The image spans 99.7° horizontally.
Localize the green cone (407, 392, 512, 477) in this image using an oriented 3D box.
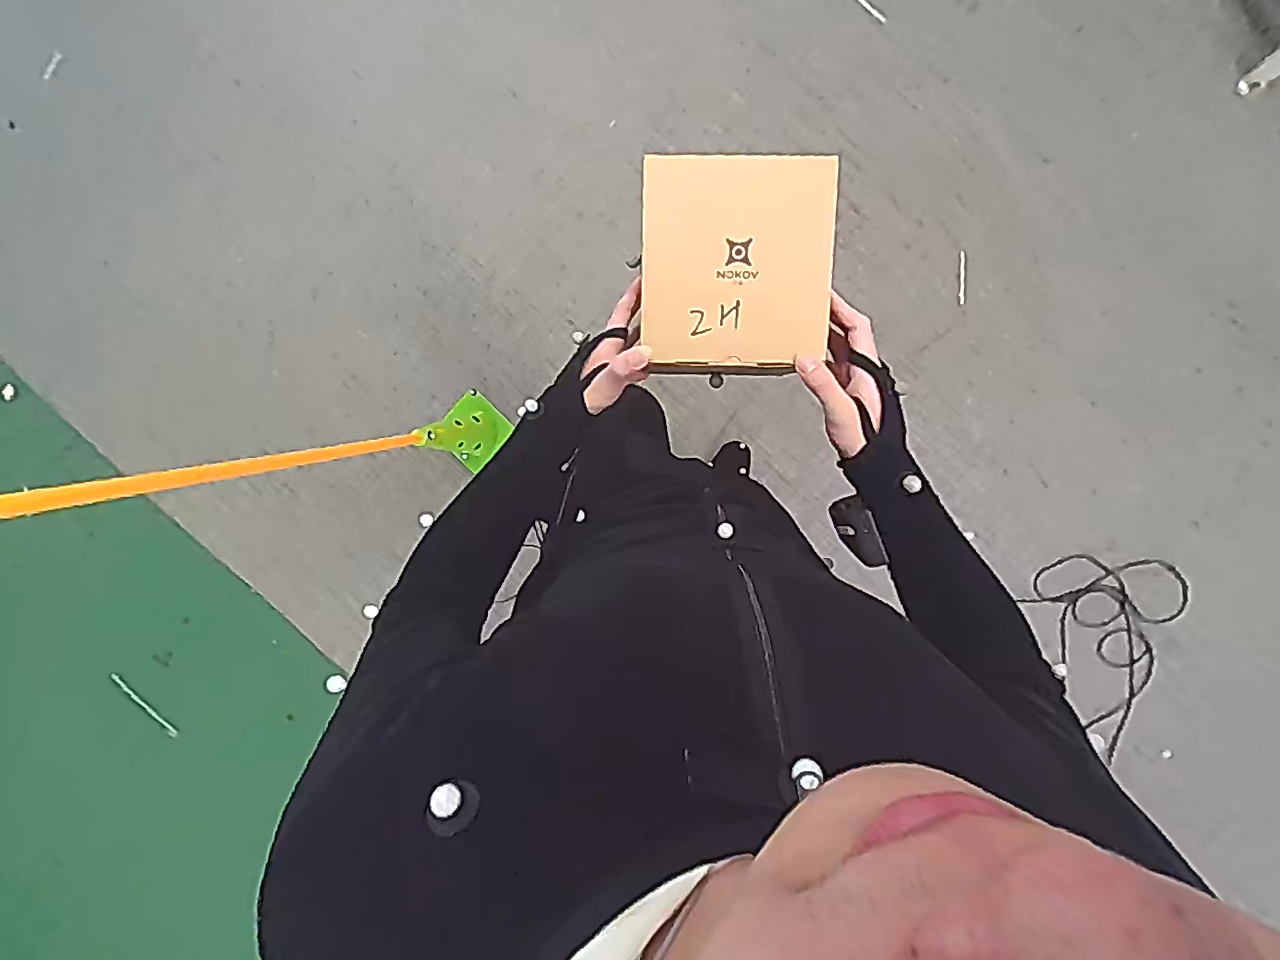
[{"bbox_3d":[-0.529,-0.111,1.467,0.202,0.368,0.200,44,100,-2],"label":"green cone"}]
